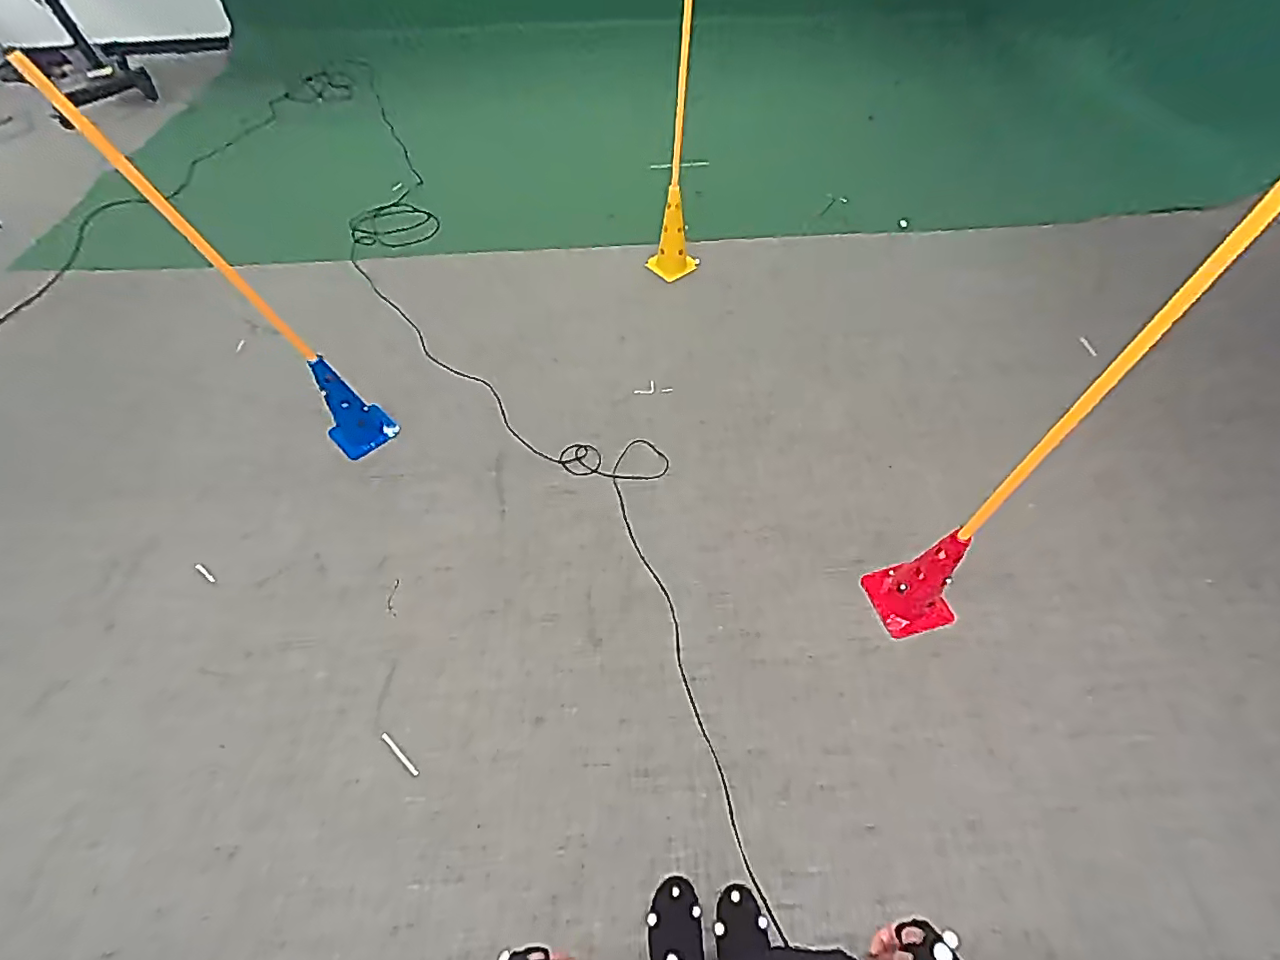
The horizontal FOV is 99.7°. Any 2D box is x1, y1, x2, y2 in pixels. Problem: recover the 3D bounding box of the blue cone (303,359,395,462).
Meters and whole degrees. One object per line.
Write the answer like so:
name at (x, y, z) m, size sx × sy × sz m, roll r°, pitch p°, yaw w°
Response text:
blue cone at (-1.005, -0.250, 1.808) m, size 0.192 × 0.380 × 0.193 m, roll 37°, pitch 65°, yaw 24°
